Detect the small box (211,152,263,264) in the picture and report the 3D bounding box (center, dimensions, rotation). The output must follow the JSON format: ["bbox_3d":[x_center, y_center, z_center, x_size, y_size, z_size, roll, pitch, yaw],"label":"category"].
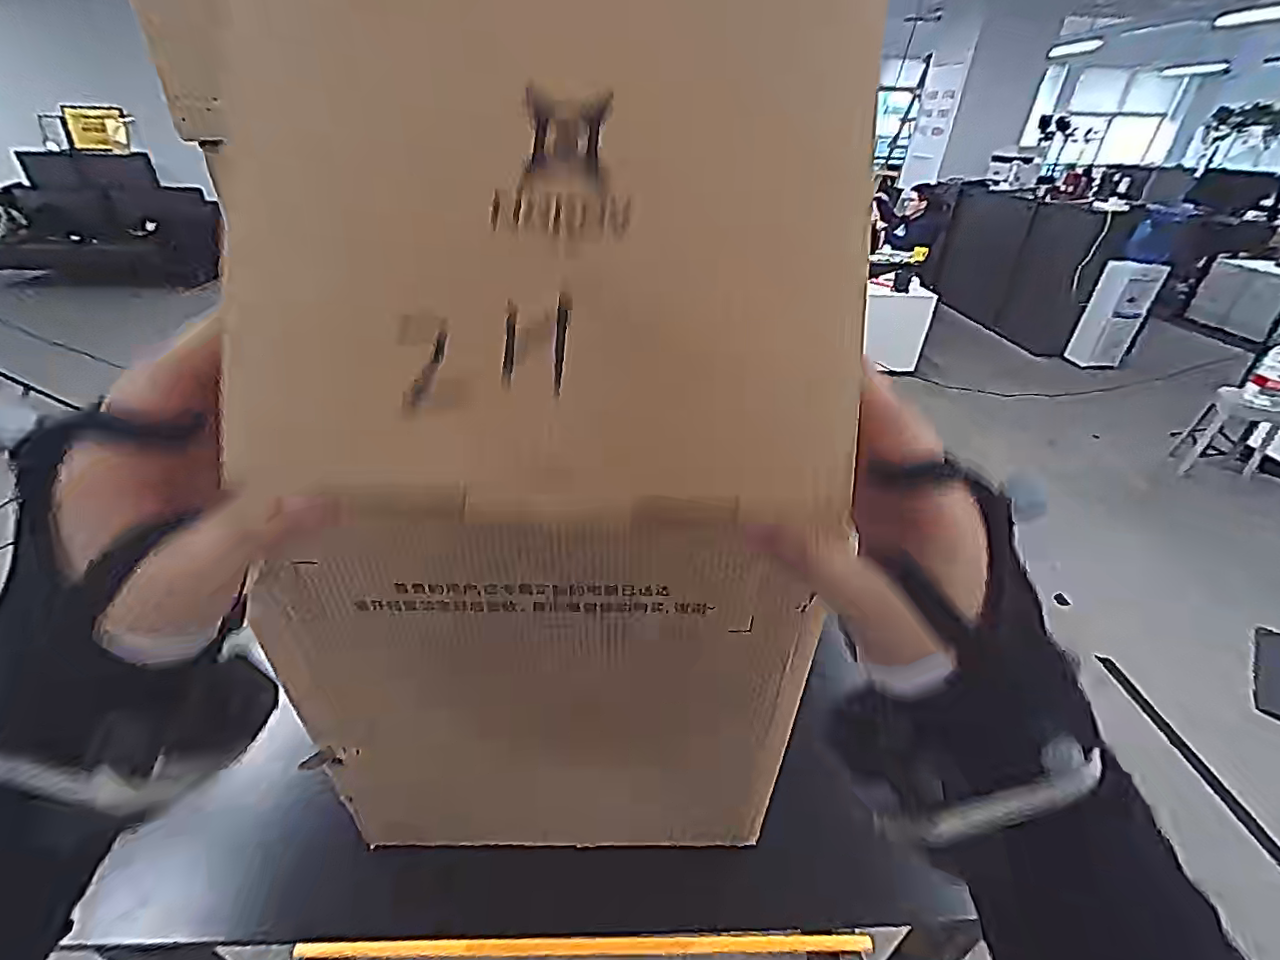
[{"bbox_3d":[-0.258,-0.223,0.531,0.168,0.176,0.179,-2,33,-5],"label":"small box"}]
